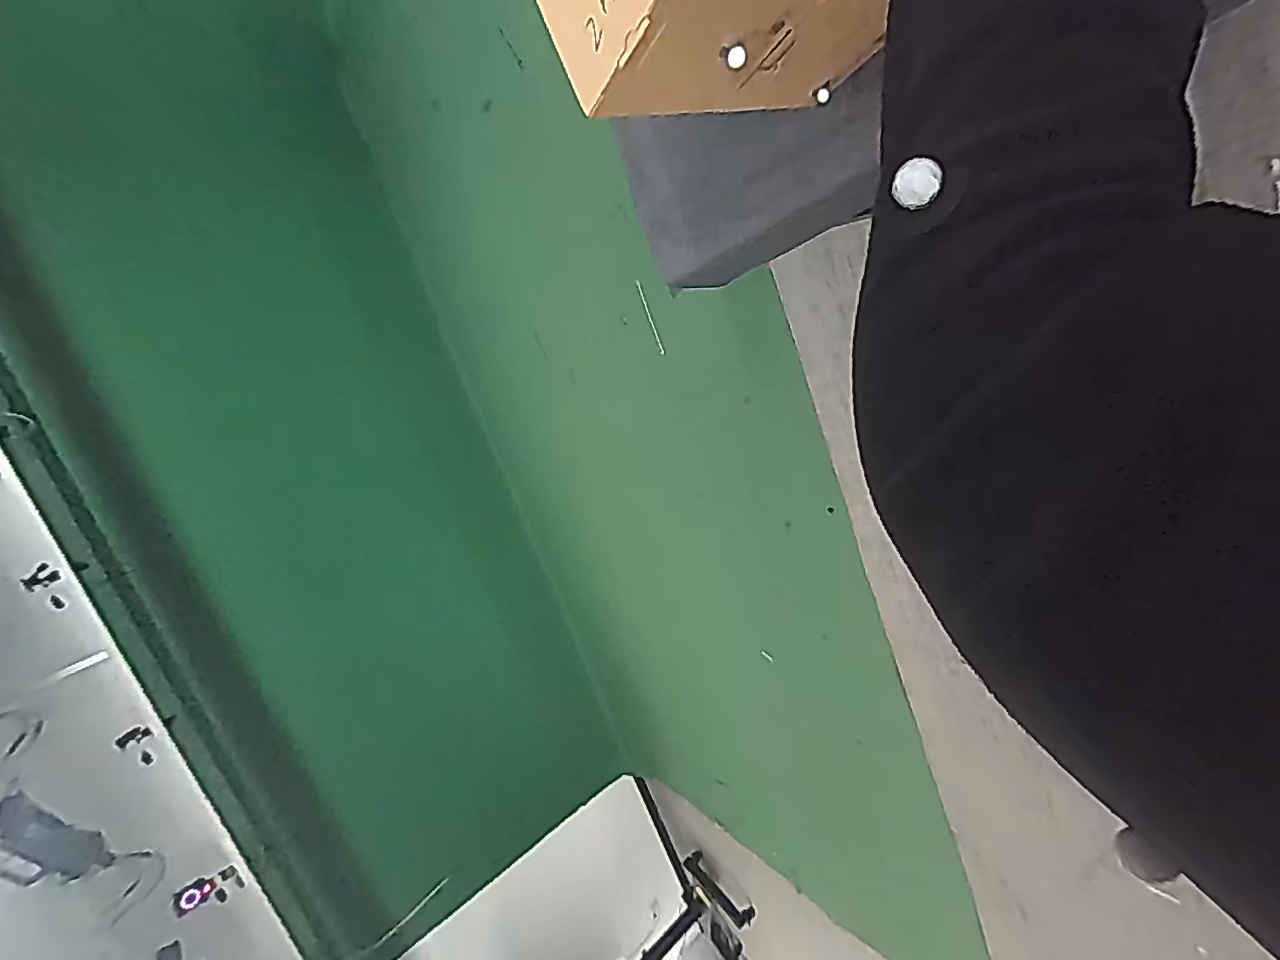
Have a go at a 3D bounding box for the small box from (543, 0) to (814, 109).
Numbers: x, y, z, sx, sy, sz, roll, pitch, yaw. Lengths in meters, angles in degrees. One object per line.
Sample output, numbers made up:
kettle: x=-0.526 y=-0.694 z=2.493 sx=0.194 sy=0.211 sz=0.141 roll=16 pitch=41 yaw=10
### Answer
small box: x=0.026 y=-0.446 z=0.445 sx=0.168 sy=0.176 sz=0.179 roll=-14 pitch=101 yaw=60

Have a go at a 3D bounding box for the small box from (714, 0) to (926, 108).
small box: x=0.155 y=-0.507 z=0.527 sx=0.168 sy=0.176 sz=0.179 roll=-11 pitch=103 yaw=59
